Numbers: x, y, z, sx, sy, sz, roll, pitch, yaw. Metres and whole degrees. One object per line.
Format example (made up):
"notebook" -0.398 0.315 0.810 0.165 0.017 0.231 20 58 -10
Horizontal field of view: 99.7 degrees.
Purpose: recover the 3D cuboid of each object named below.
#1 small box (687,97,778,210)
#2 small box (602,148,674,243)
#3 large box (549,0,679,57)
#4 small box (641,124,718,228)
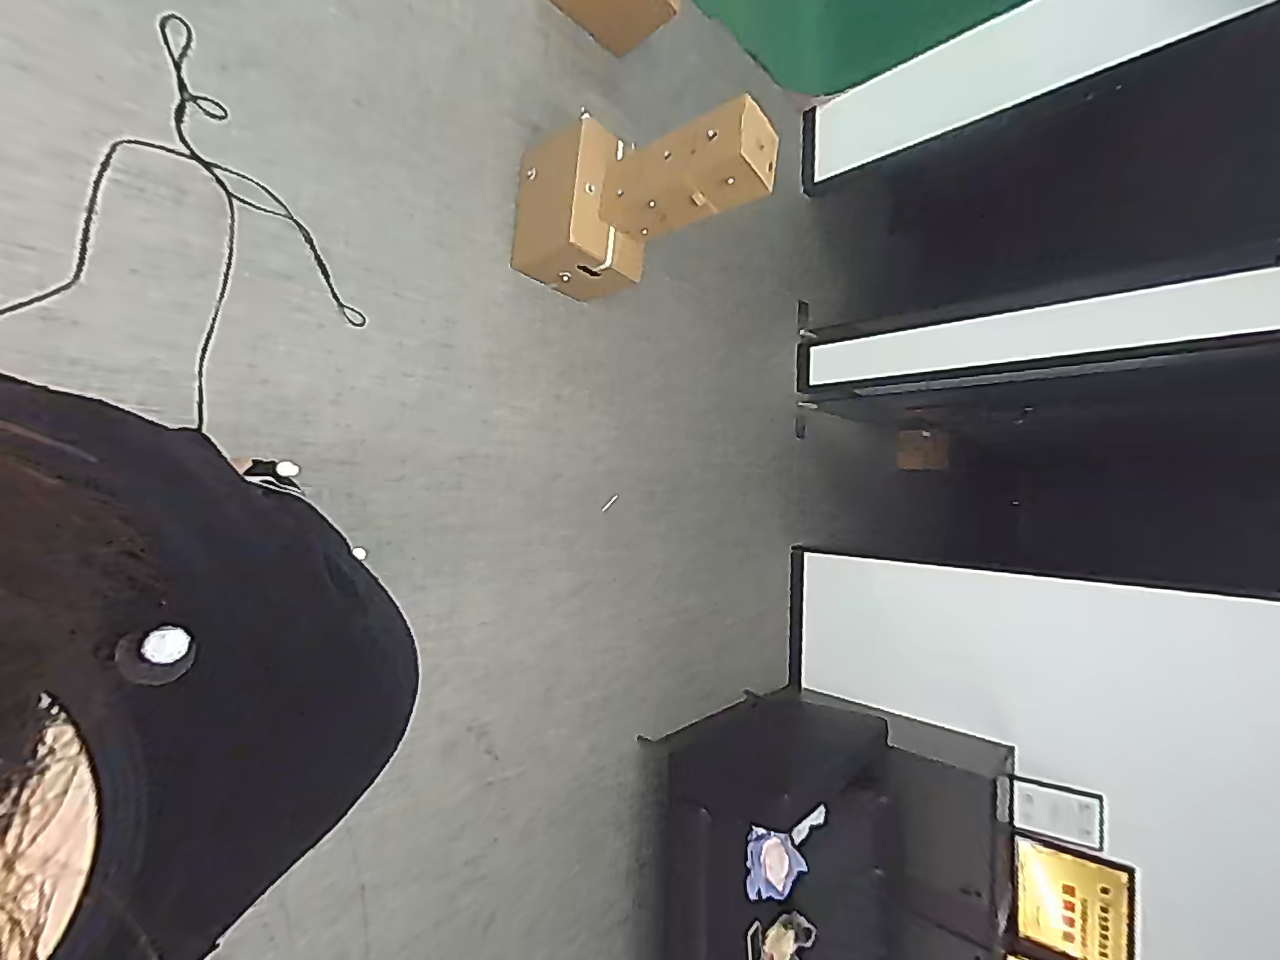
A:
"small box" 0.246 -0.858 1.443 0.179 0.176 0.168 17 79 -47
"small box" 0.002 -0.863 1.663 0.168 0.176 0.179 16 79 -48
"large box" -0.107 -1.814 1.888 0.408 0.320 0.320 1 90 -48
"small box" 0.121 -0.858 1.550 0.168 0.176 0.179 19 76 -48
